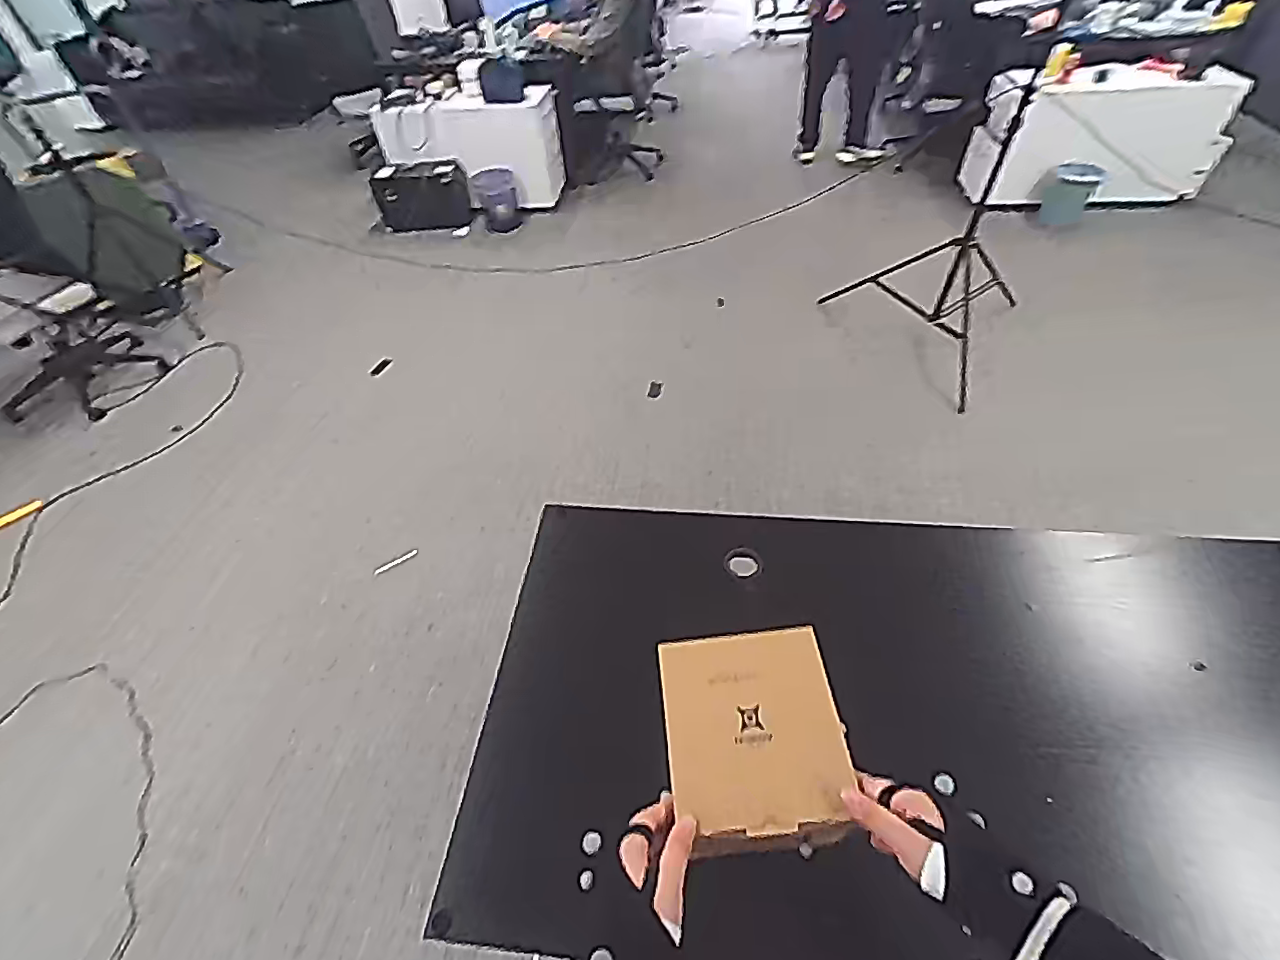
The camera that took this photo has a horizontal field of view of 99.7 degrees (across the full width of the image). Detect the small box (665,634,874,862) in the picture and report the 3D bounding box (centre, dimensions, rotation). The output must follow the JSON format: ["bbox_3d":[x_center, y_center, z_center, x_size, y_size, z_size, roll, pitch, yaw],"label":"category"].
[{"bbox_3d":[0.120,0.286,0.567,0.168,0.176,0.179,-7,48,1],"label":"small box"}]
